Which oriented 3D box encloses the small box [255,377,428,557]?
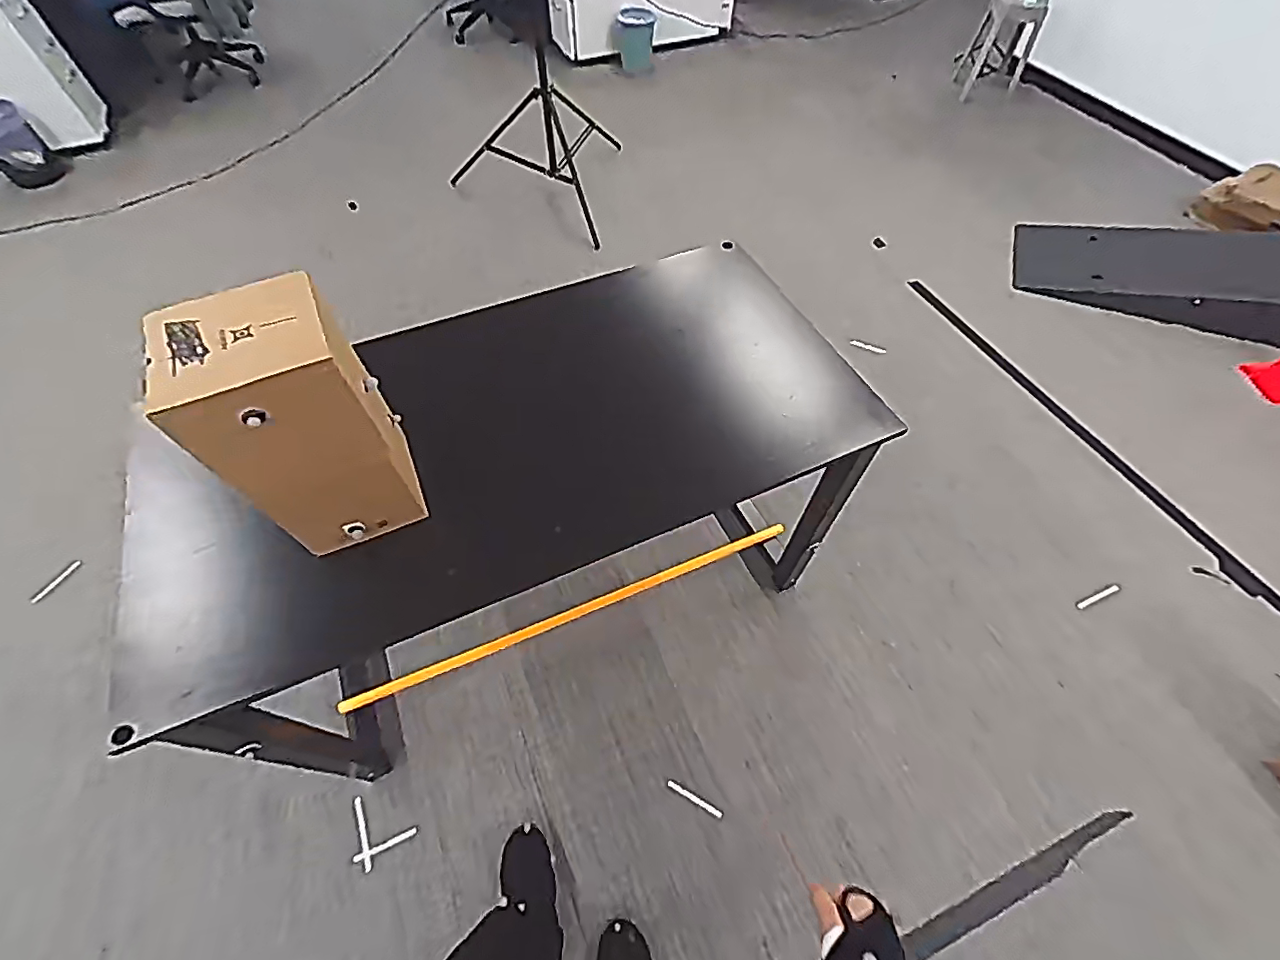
[{"bbox_3d":[-0.434,-0.017,0.791,0.168,0.176,0.179,-23,60,-13],"label":"small box"}]

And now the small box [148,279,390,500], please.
[{"bbox_3d":[-0.434,-0.103,0.650,0.179,0.176,0.168,-24,59,-15],"label":"small box"}]

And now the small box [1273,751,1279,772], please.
[{"bbox_3d":[1.612,0.666,1.212,0.179,0.176,0.168,-21,59,-12],"label":"small box"}]
